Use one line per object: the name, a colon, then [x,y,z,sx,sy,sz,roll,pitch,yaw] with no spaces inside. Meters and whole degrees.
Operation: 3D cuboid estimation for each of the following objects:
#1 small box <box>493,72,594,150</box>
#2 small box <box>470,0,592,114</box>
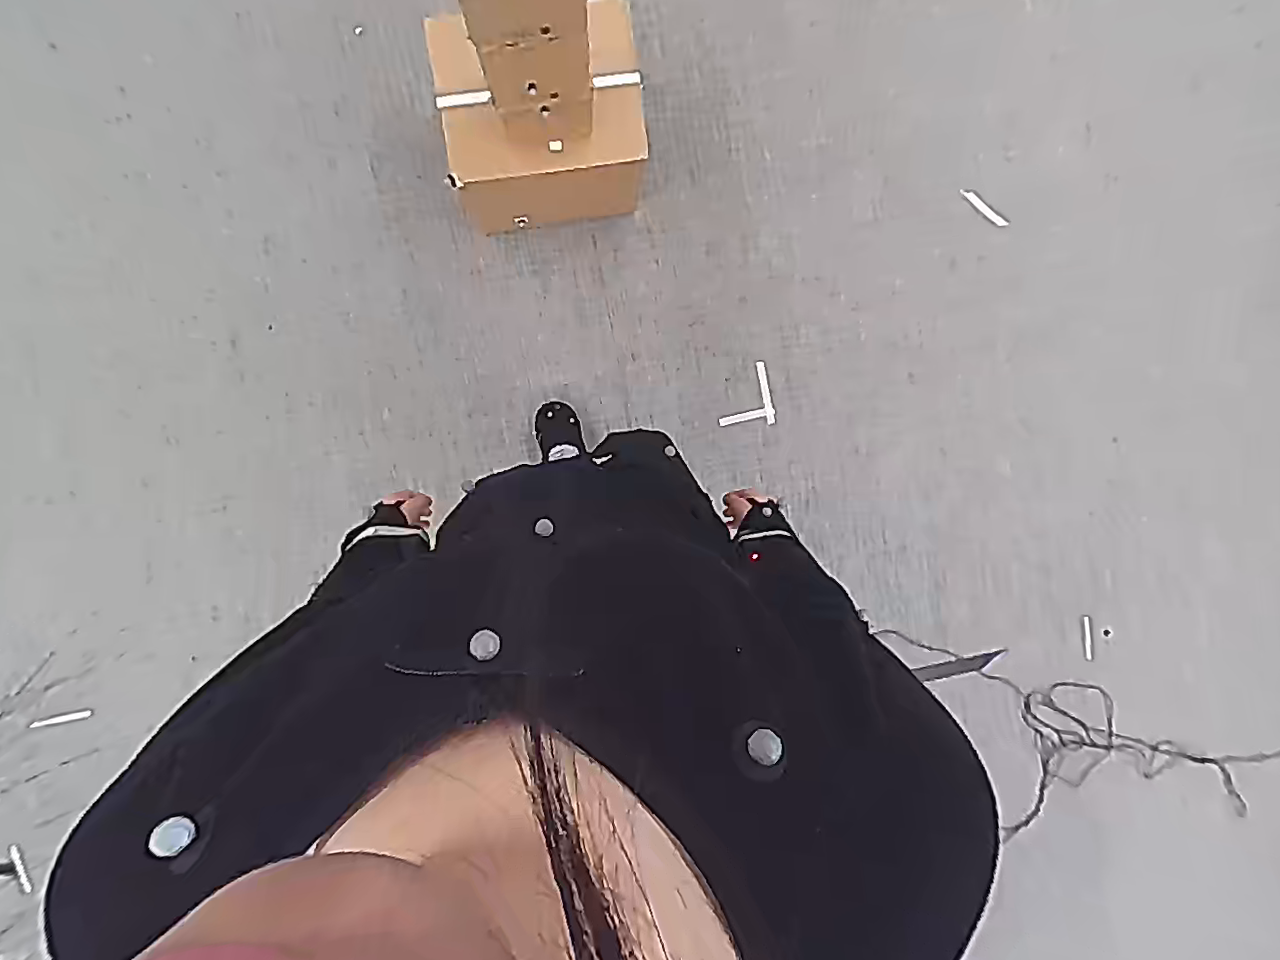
small box: [-0.185,-0.746,1.006,0.179,0.176,0.168,-12,99,-4]
small box: [-0.173,-0.718,0.847,0.168,0.176,0.179,-11,99,-4]
